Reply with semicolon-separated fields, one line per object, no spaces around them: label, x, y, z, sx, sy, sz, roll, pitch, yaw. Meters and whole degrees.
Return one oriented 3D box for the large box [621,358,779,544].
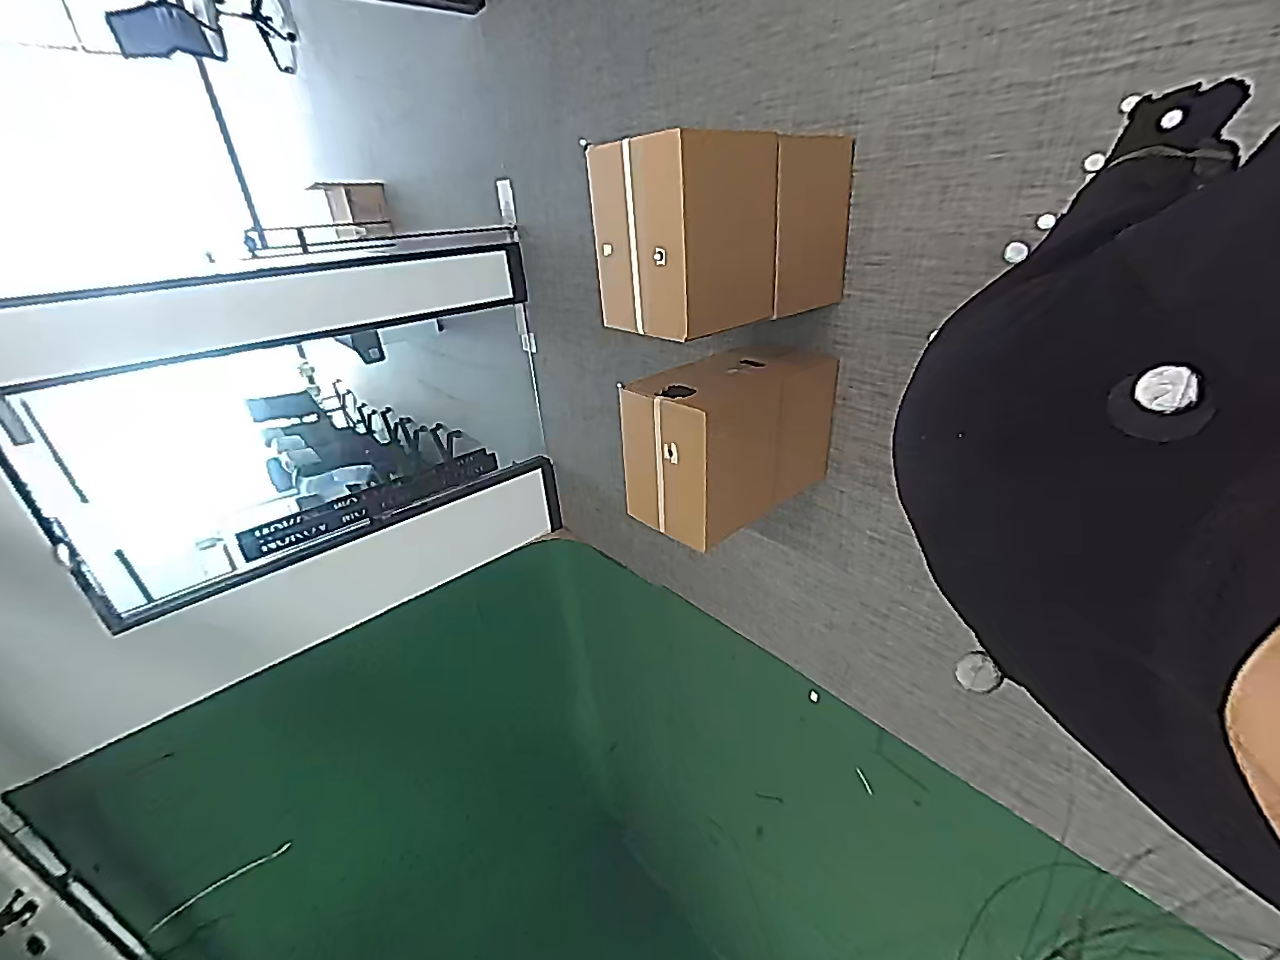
large box;0.172;-0.098;1.528;0.320;0.320;0.408;24;127;41
